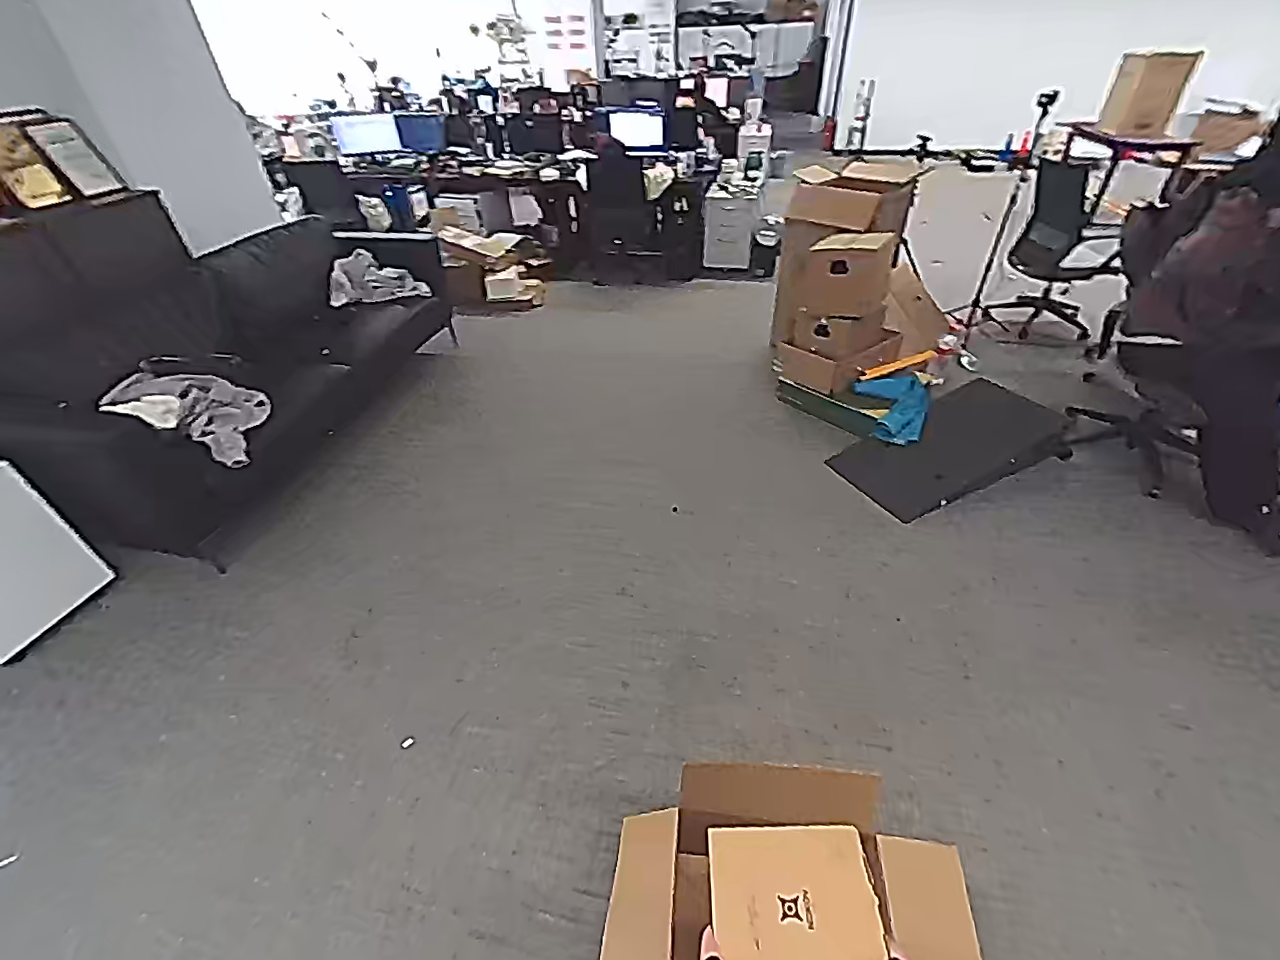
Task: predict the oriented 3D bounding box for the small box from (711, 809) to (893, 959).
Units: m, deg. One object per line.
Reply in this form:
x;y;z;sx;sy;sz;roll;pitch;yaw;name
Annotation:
0.175;0.506;0.616;0.179;0.176;0.168;-5;30;10;small box
